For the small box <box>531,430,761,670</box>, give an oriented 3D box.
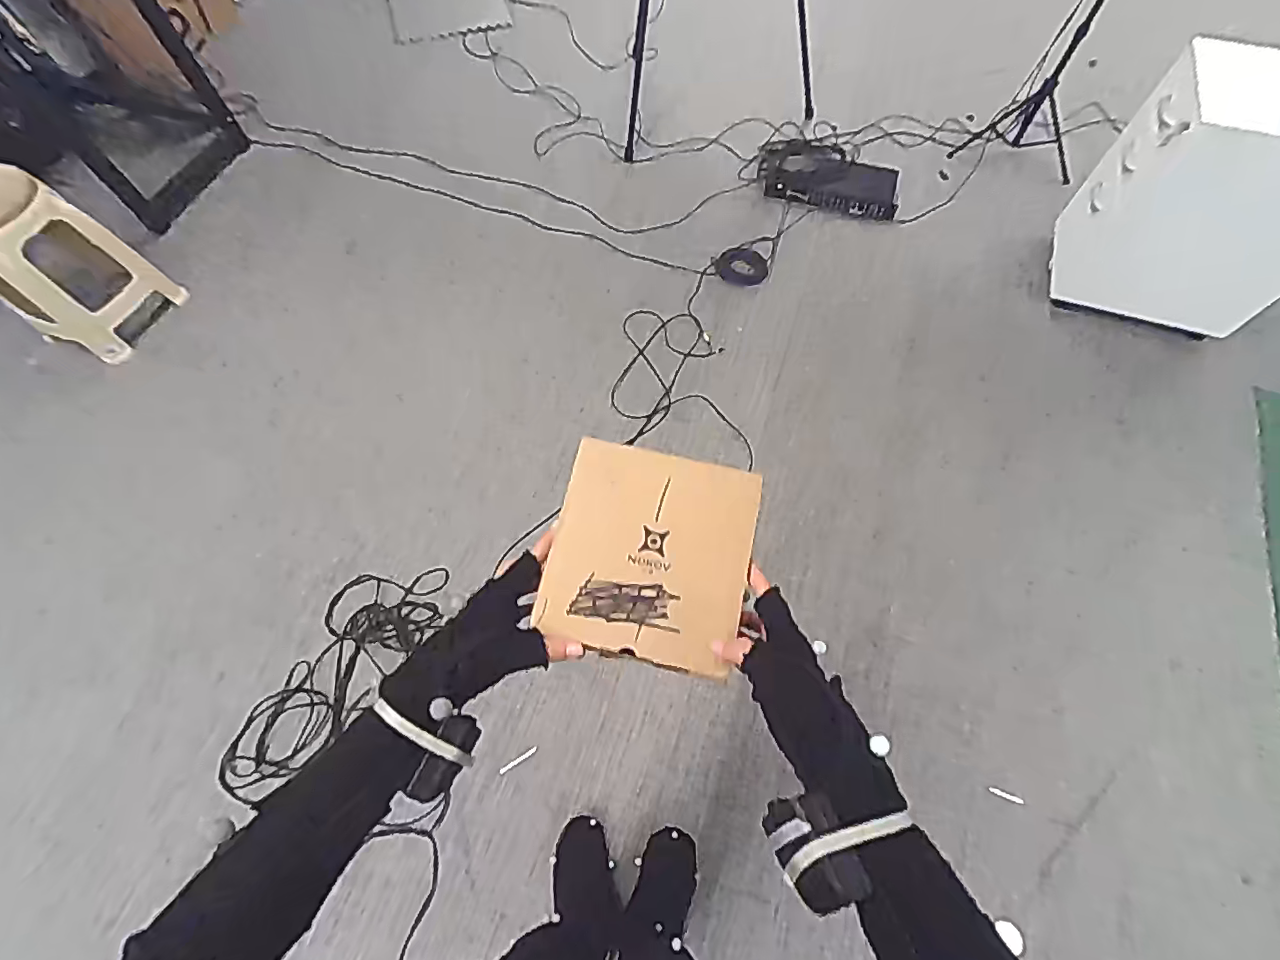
[{"bbox_3d":[0.009,0.076,0.529,0.168,0.176,0.179,12,73,3],"label":"small box"}]
